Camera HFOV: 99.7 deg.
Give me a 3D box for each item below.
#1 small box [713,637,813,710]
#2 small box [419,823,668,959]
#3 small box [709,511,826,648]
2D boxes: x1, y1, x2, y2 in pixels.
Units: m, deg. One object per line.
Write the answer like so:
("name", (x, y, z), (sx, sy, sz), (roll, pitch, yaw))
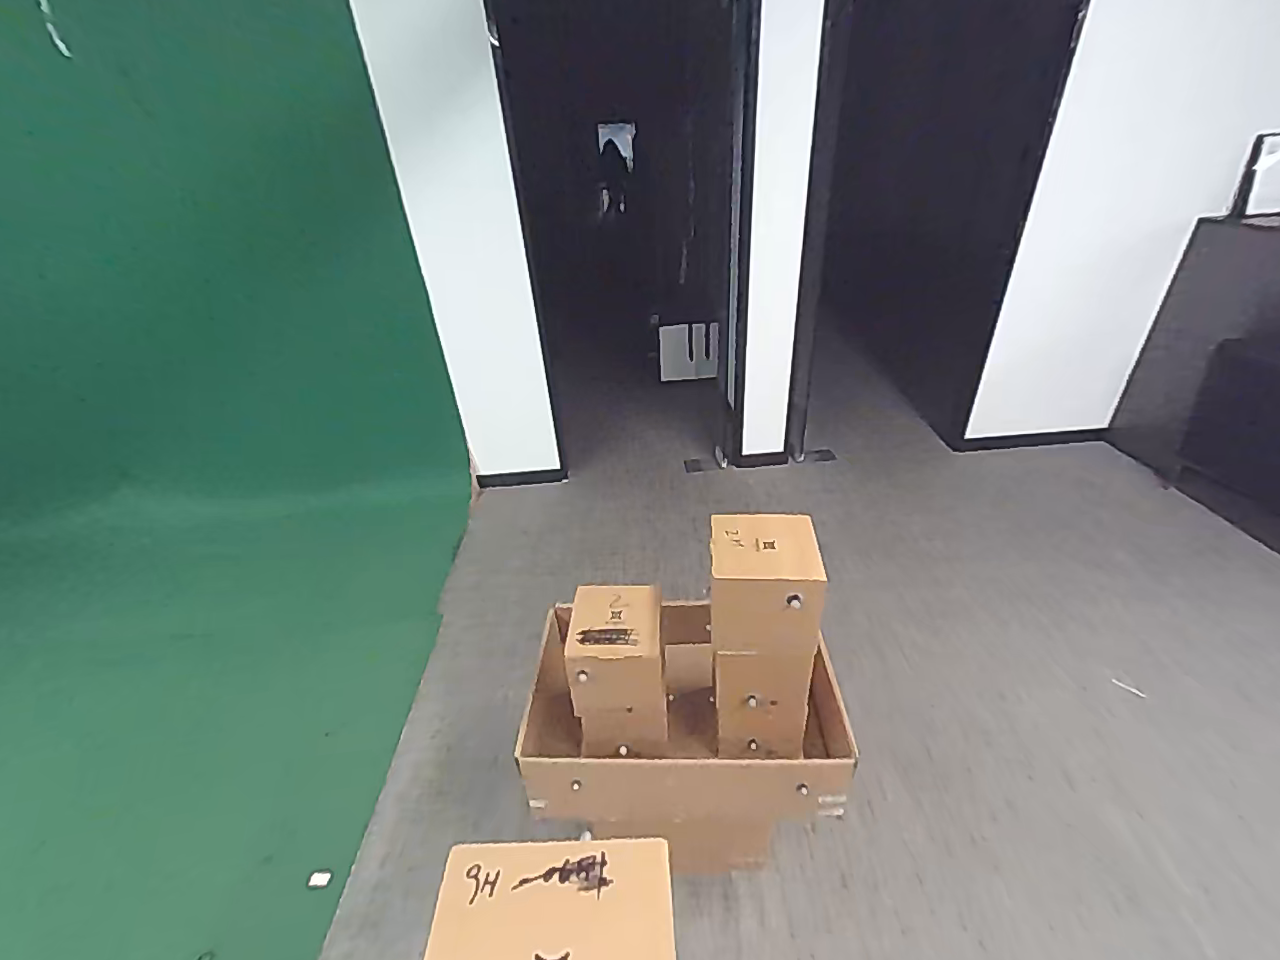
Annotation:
("small box", (0.222, 0.305, 1.024), (0.168, 0.176, 0.179), (-1, 34, 7))
("small box", (-0.062, 0.382, 0.394), (0.168, 0.176, 0.179), (-1, 35, -1))
("small box", (0.209, 0.170, 0.930), (0.179, 0.176, 0.168), (-1, 33, 8))
